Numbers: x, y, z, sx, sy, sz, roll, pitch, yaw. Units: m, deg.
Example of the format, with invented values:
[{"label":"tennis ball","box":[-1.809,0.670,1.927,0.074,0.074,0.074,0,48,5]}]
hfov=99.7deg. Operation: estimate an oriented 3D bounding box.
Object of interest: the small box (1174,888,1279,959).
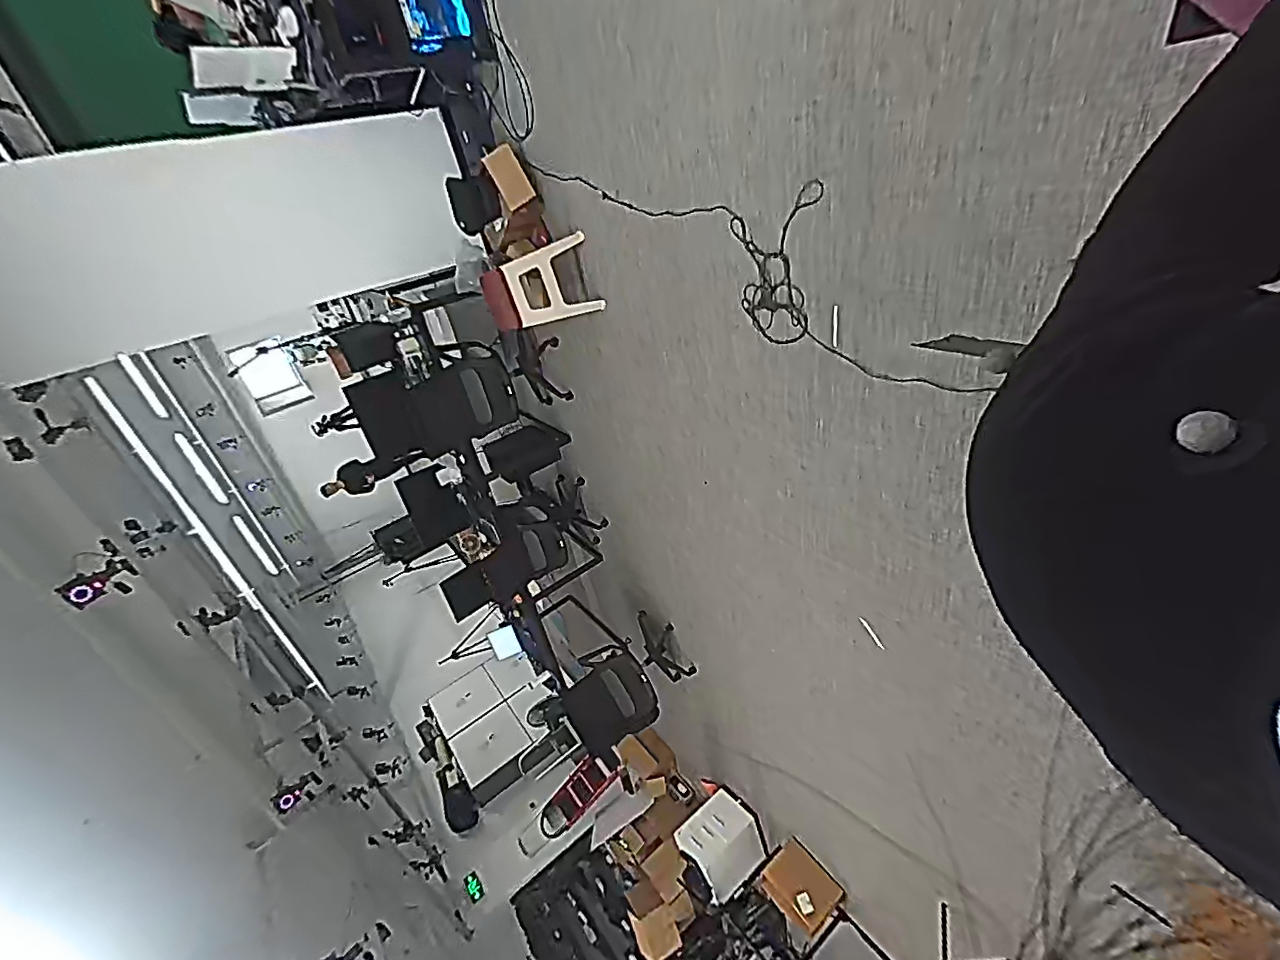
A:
[{"label":"small box","box":[1.689,1.339,1.553,0.168,0.176,0.179,23,135,51]}]
